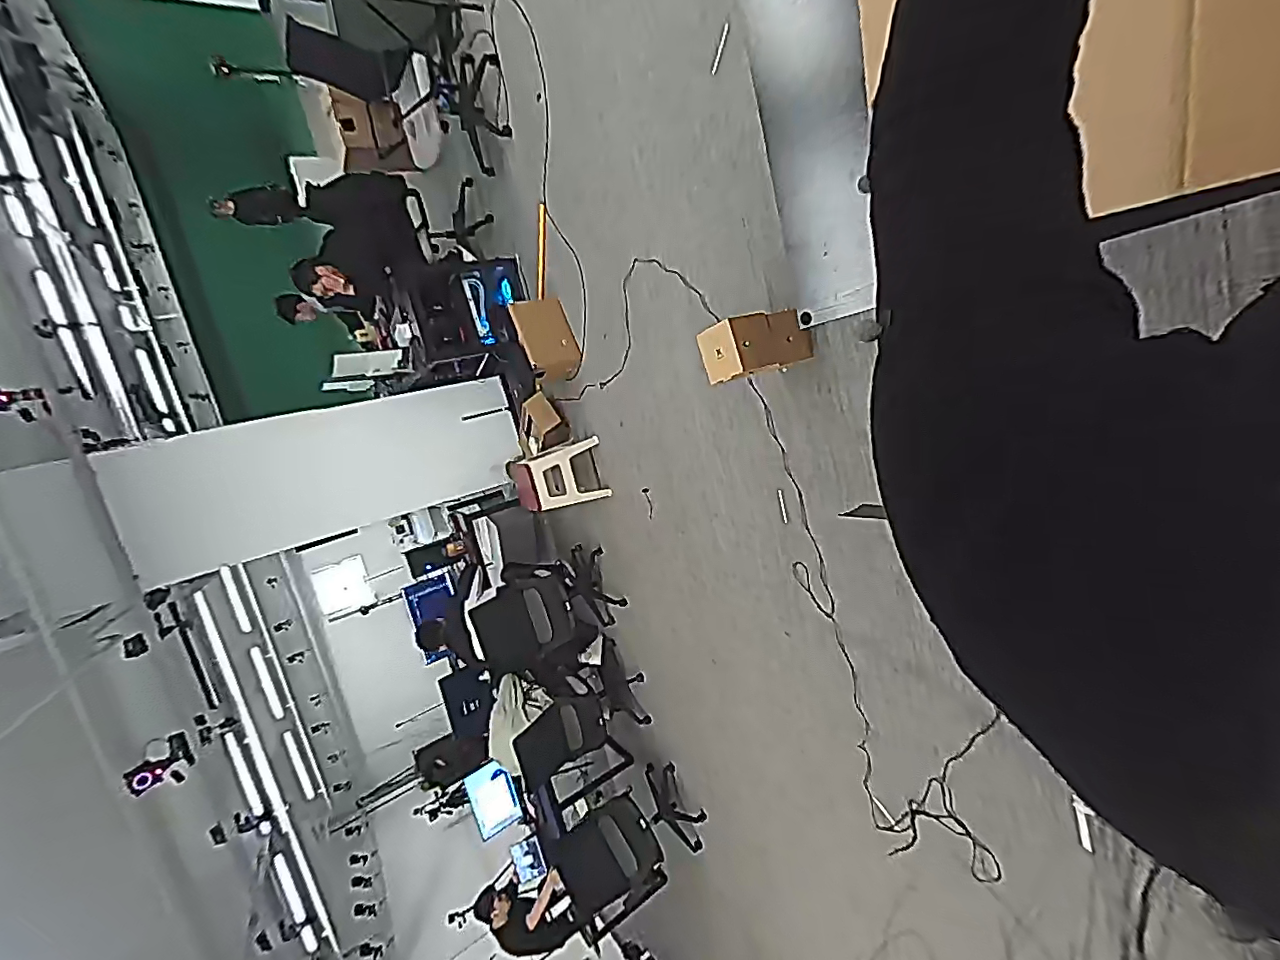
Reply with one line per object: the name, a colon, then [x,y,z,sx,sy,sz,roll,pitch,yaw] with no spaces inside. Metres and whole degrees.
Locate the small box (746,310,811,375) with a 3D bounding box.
small box: [0.456,-0.473,1.852,0.168,0.176,0.179,-6,102,59]

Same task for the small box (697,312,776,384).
small box: [0.321,-0.433,1.771,0.168,0.176,0.179,-13,94,59]
